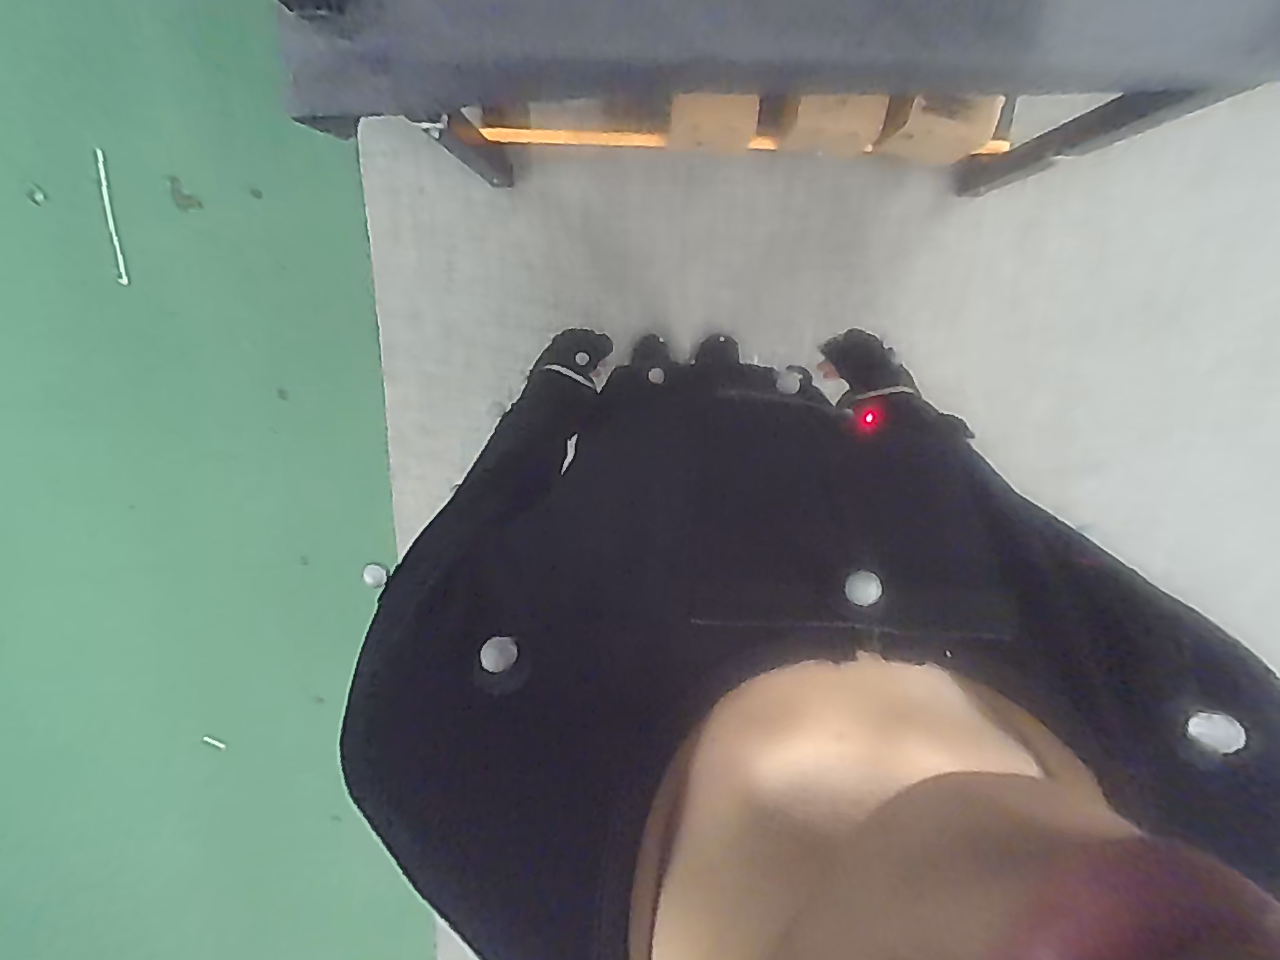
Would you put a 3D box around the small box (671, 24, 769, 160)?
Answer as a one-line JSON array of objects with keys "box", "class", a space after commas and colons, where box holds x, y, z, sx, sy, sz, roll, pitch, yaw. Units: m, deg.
[{"box": [0.152, -0.769, 1.088, 0.168, 0.176, 0.179, 4, 108, 1], "class": "small box"}]
